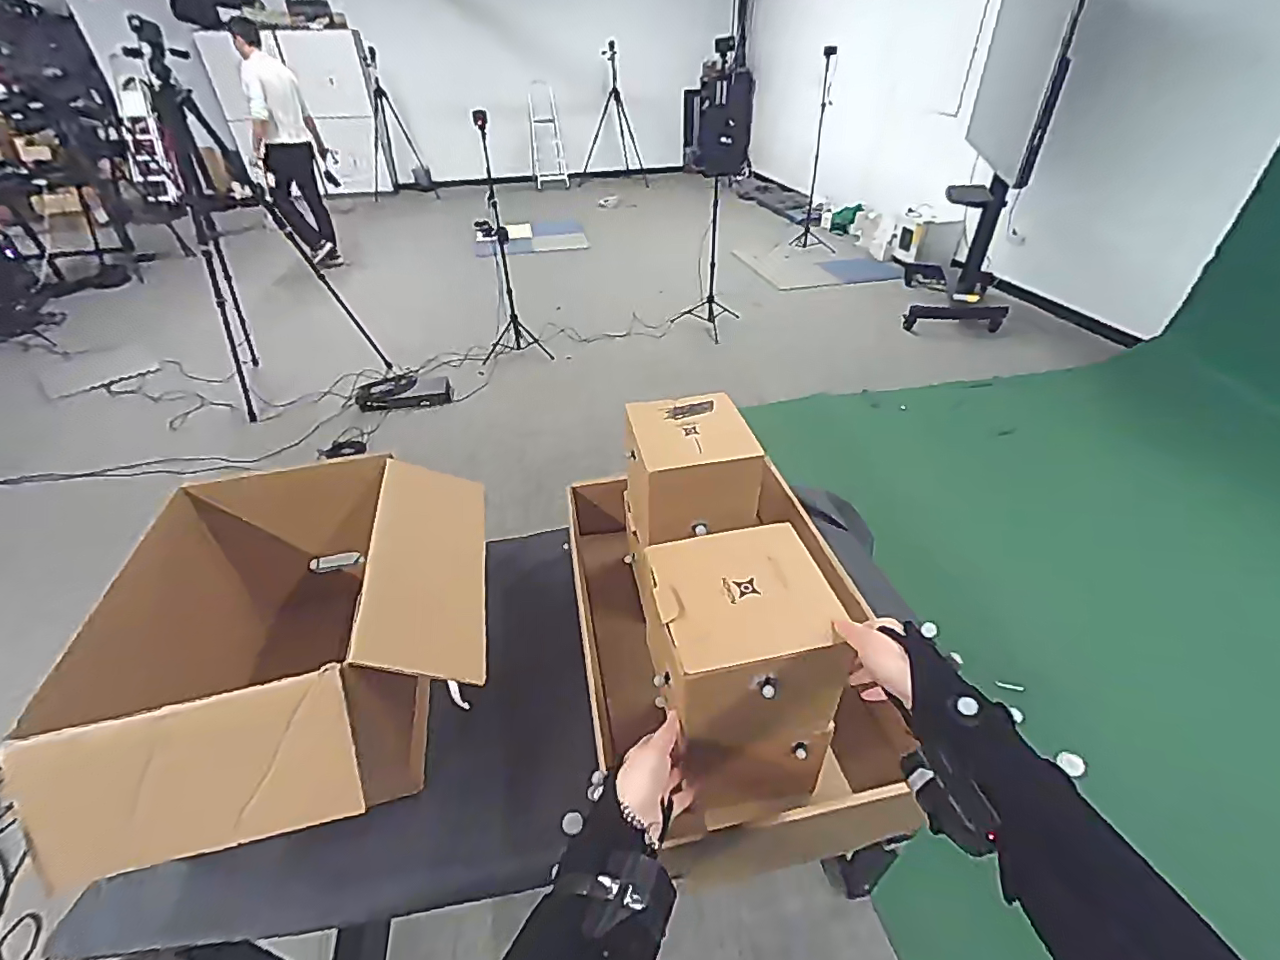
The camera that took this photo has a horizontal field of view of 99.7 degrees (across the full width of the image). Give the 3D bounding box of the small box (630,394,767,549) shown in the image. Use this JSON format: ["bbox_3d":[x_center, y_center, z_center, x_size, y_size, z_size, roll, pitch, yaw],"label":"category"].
[{"bbox_3d":[0.079,-0.011,0.832,0.168,0.176,0.179,-9,41,-7],"label":"small box"}]

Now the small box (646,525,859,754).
[{"bbox_3d":[0.110,0.177,0.603,0.179,0.176,0.168,-9,40,-8],"label":"small box"}]
